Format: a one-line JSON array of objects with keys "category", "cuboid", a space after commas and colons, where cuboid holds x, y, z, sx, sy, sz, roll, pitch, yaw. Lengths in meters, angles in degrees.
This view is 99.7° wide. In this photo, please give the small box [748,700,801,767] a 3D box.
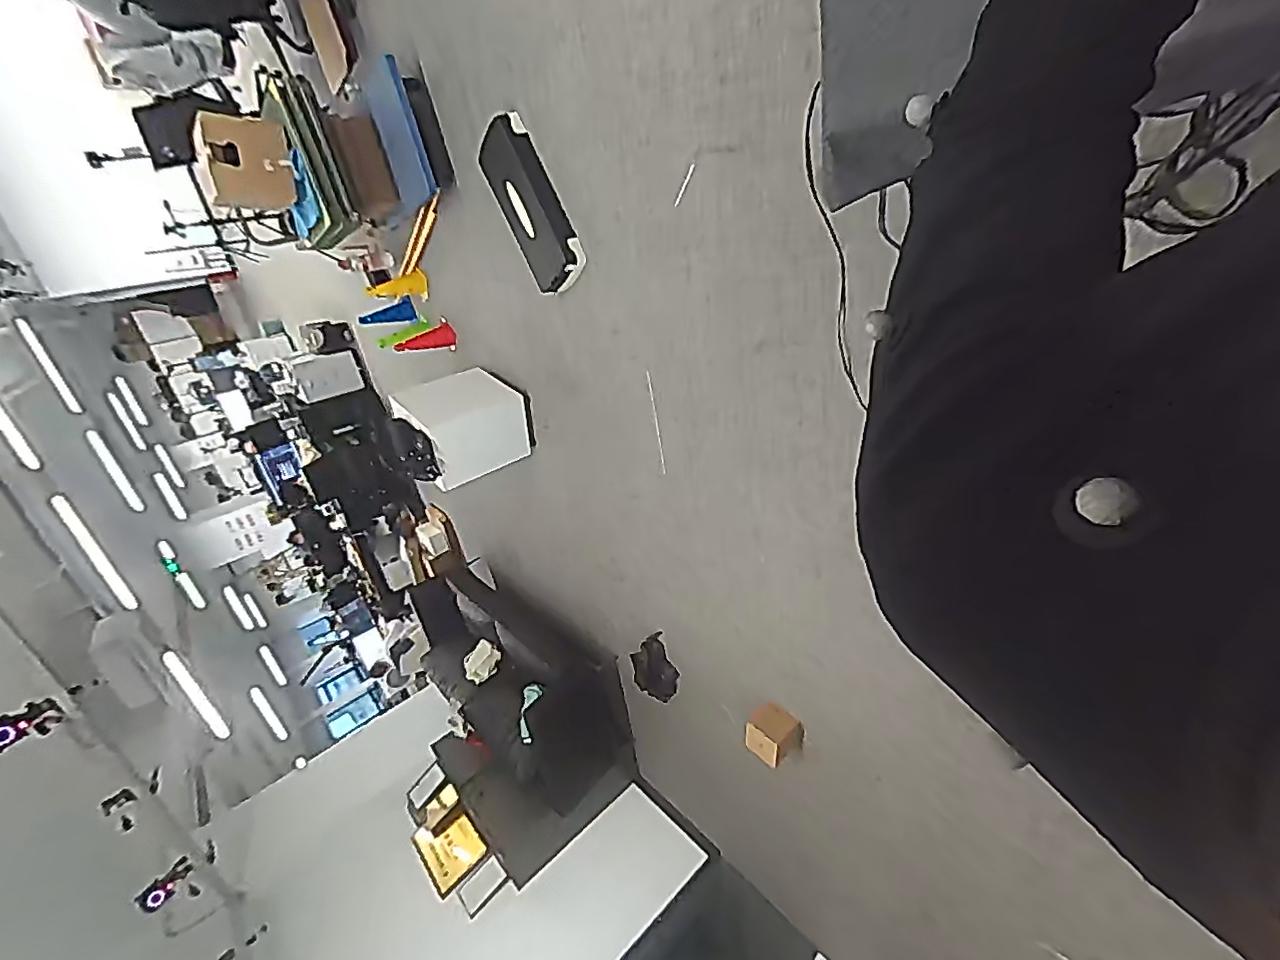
[{"category": "small box", "cuboid": [0.600, 1.121, 2.405, 0.168, 0.176, 0.179, 28, 135, 43]}]
